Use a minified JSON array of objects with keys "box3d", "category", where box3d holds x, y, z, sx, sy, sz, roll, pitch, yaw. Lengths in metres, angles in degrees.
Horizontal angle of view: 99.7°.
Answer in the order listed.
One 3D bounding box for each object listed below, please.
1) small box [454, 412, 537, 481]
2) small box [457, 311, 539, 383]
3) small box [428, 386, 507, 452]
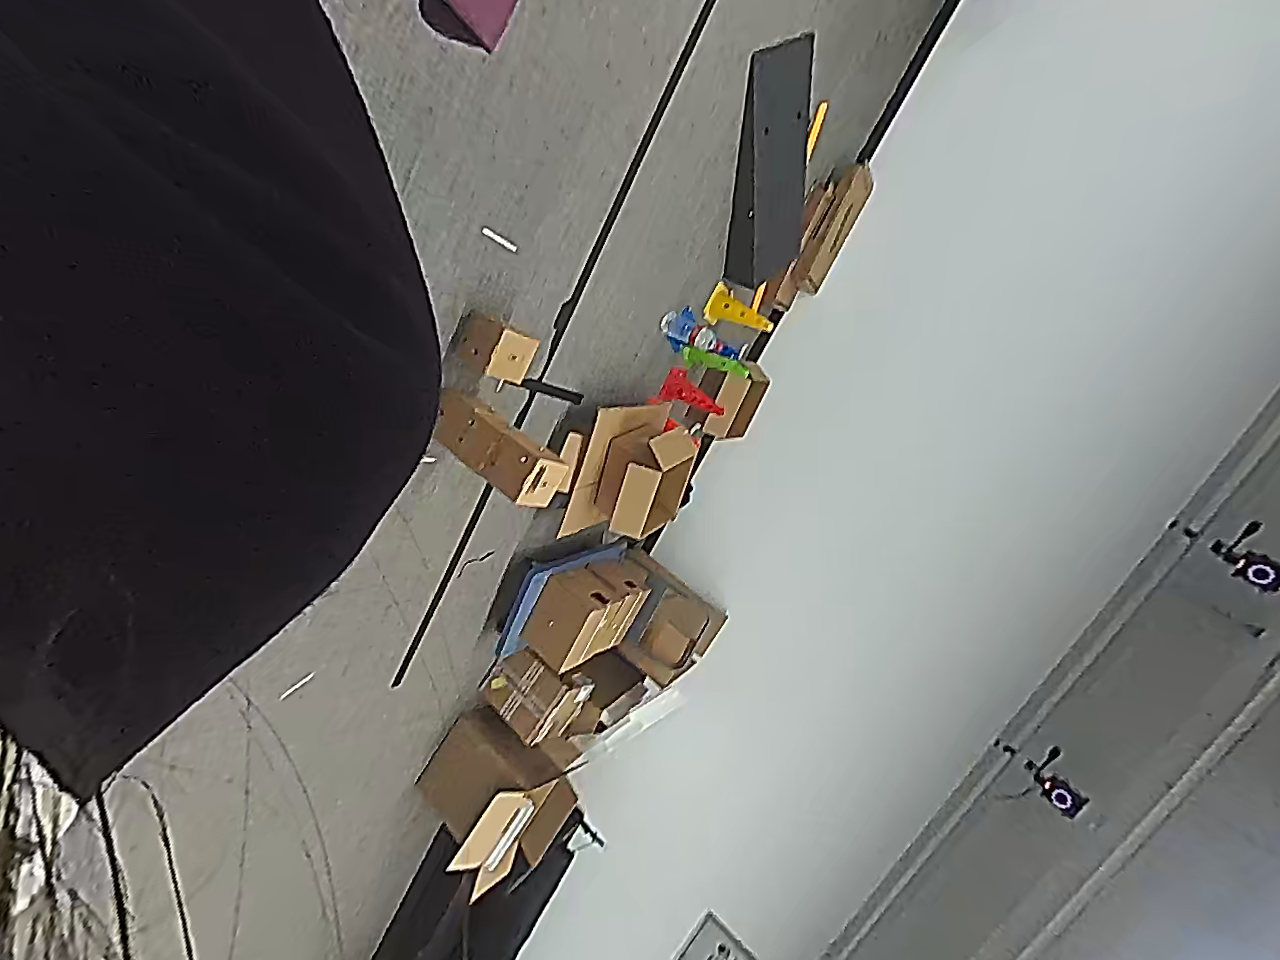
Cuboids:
[{"box3d":[-0.493,-0.114,1.828,0.168,0.176,0.179,-60,156,9],"category":"small box"},{"box3d":[-0.483,-0.452,1.828,0.168,0.176,0.179,-61,156,14],"category":"small box"},{"box3d":[-0.613,-0.201,1.901,0.179,0.176,0.168,-59,155,8],"category":"small box"}]
